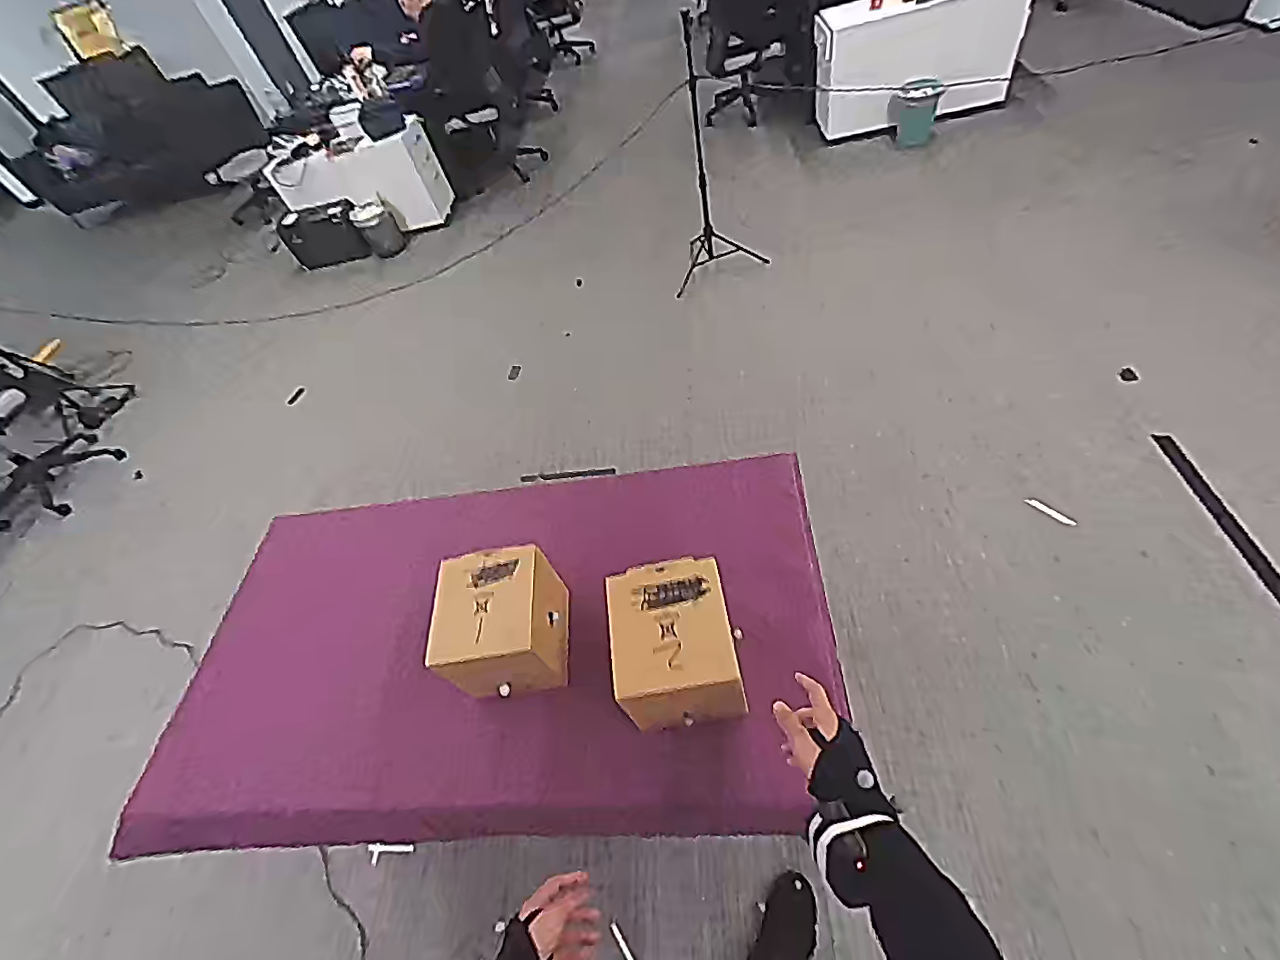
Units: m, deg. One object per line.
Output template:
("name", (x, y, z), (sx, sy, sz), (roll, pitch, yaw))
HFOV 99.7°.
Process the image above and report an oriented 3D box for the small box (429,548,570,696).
("small box", (-0.219, 0.237, 0.895), (0.168, 0.176, 0.179), (-10, 51, 7))
